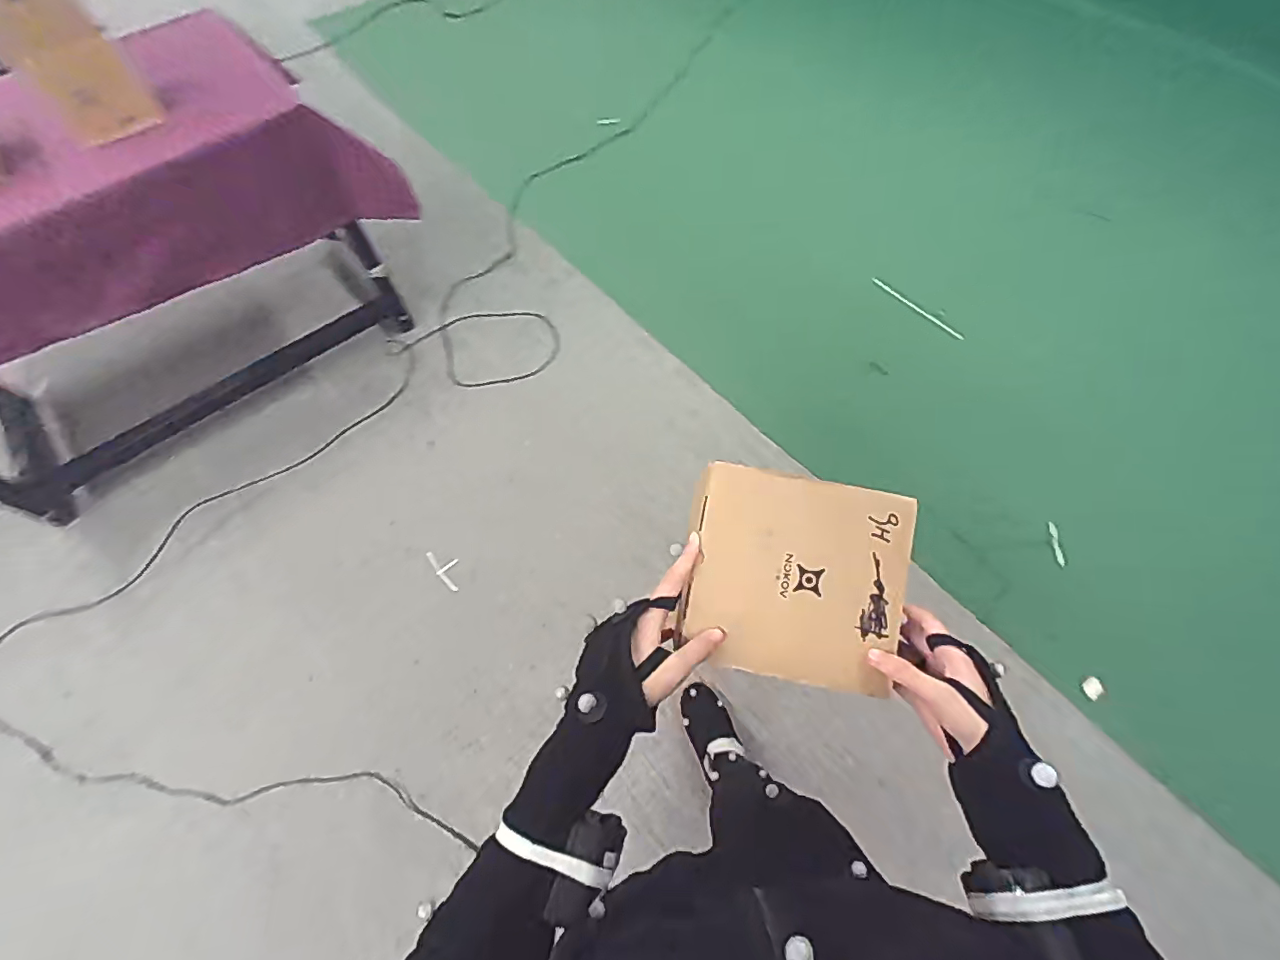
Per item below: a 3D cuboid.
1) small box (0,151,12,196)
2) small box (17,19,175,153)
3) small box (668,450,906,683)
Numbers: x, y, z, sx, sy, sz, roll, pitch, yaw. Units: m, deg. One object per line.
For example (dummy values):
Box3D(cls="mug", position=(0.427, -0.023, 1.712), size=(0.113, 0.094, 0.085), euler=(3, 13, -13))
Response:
Box3D(cls="small box", position=(-1.433, -0.662, 1.083), size=(0.179, 0.176, 0.168), euler=(-36, 66, -16))
Box3D(cls="small box", position=(-1.172, -0.849, 1.178), size=(0.168, 0.176, 0.179), euler=(-35, 66, -16))
Box3D(cls="small box", position=(0.125, 0.079, 0.526), size=(0.179, 0.176, 0.168), euler=(11, 83, 3))
